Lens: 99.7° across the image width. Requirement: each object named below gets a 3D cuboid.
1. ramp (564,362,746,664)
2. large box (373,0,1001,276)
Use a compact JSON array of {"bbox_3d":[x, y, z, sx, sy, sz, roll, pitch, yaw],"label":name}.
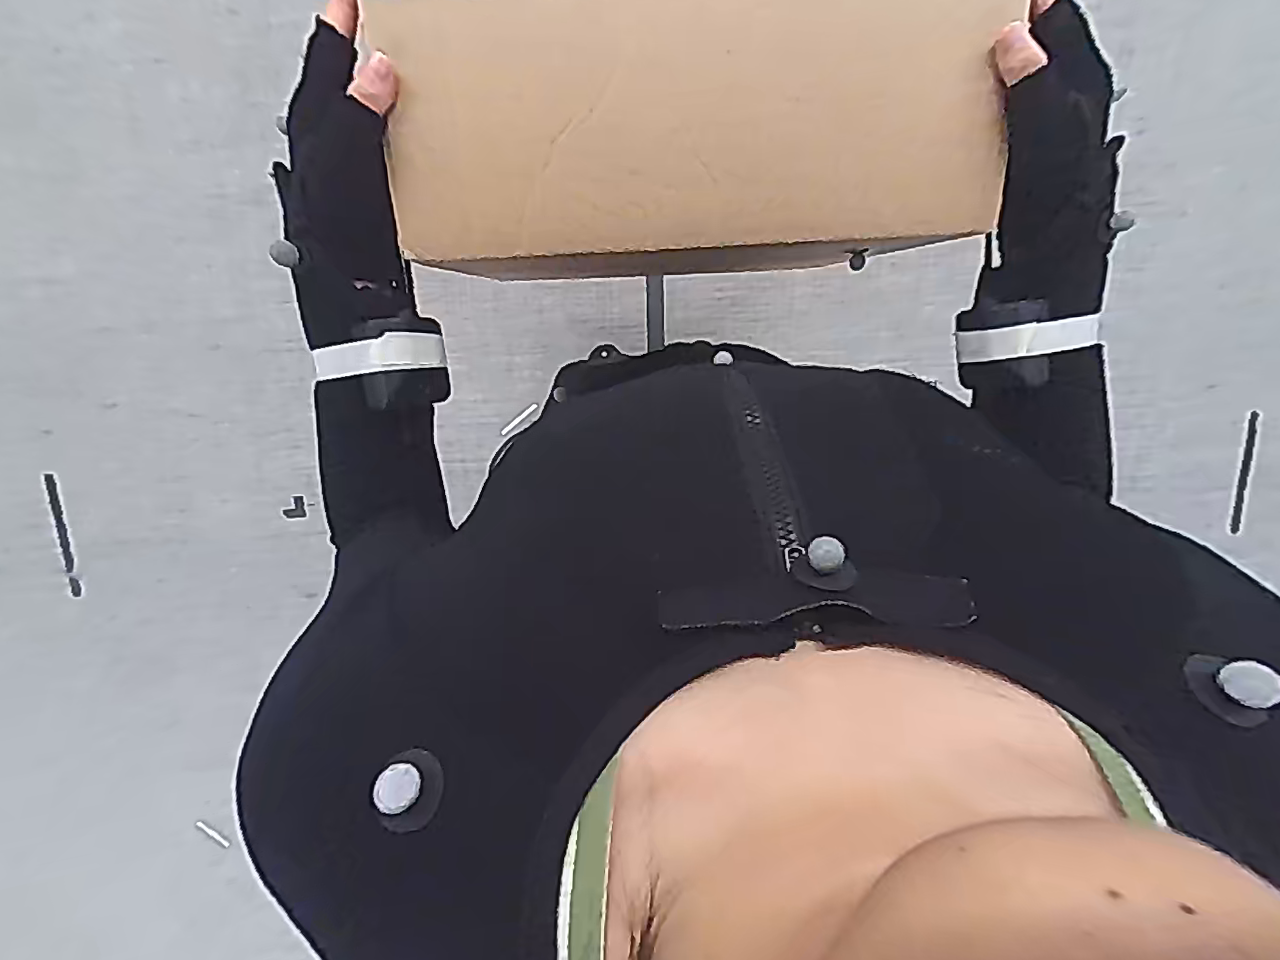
[{"bbox_3d":[0.059,0.151,1.630,0.509,0.206,0.991,-4,103,-1],"label":"ramp"},{"bbox_3d":[0.028,-0.358,0.475,0.408,0.320,0.320,-4,108,-2],"label":"large box"}]
